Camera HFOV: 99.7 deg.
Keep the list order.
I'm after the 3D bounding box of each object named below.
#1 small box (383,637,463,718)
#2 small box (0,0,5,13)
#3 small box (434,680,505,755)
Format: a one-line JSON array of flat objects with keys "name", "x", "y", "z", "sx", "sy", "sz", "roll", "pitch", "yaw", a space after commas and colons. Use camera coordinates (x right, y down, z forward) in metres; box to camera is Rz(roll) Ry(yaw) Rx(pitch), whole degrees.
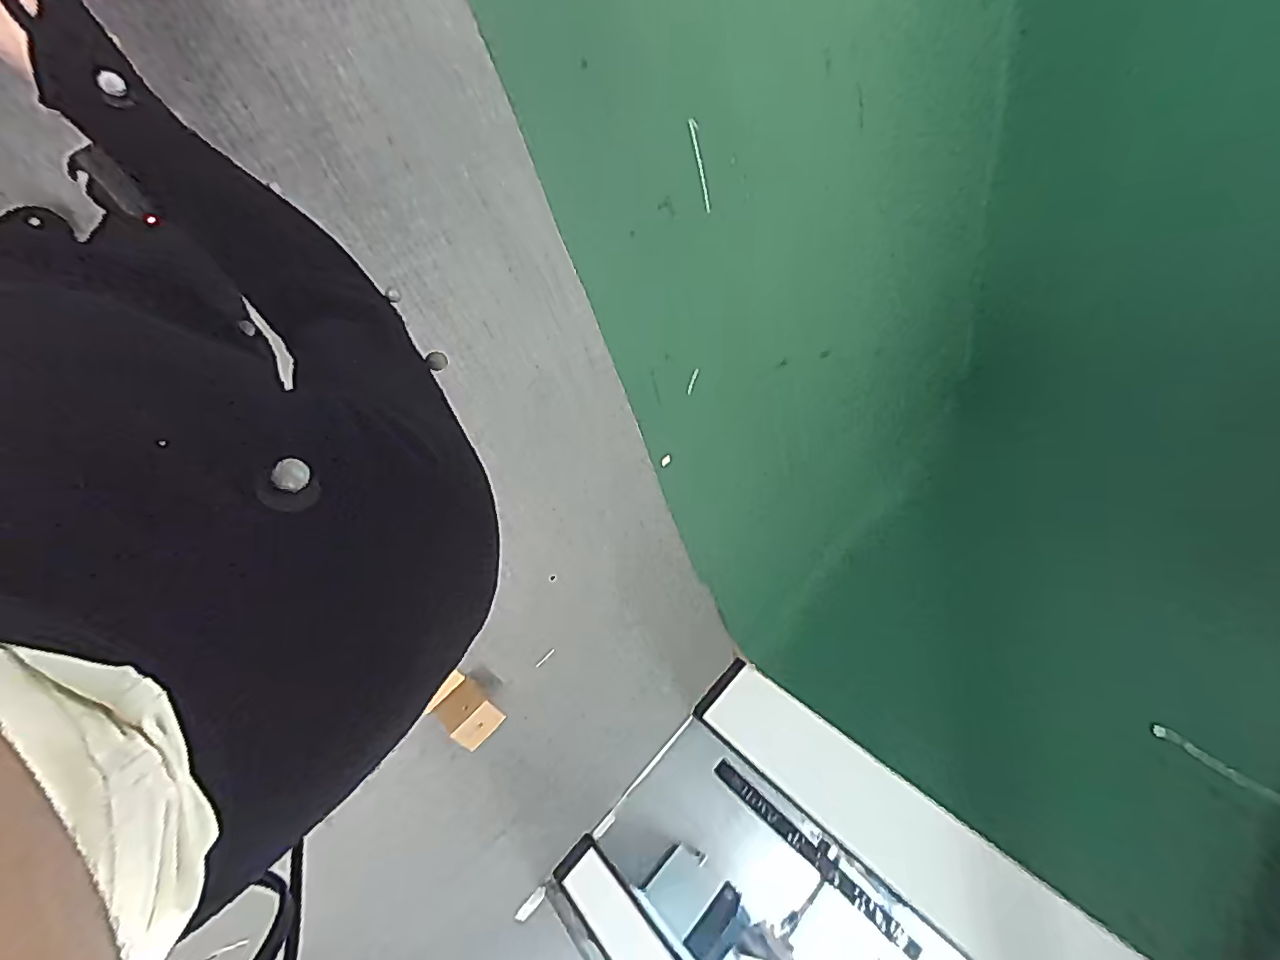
[{"name": "small box", "x": -0.765, "y": 0.689, "z": 1.901, "sx": 0.179, "sy": 0.176, "sz": 0.168, "roll": -42, "pitch": 135, "yaw": -19}, {"name": "small box", "x": -0.567, "y": -0.431, "z": 0.349, "sx": 0.179, "sy": 0.176, "sz": 0.168, "roll": -16, "pitch": 123, "yaw": -38}, {"name": "small box", "x": -0.669, "y": 0.920, "z": 2.109, "sx": 0.179, "sy": 0.176, "sz": 0.168, "roll": -42, "pitch": 134, "yaw": -20}]
